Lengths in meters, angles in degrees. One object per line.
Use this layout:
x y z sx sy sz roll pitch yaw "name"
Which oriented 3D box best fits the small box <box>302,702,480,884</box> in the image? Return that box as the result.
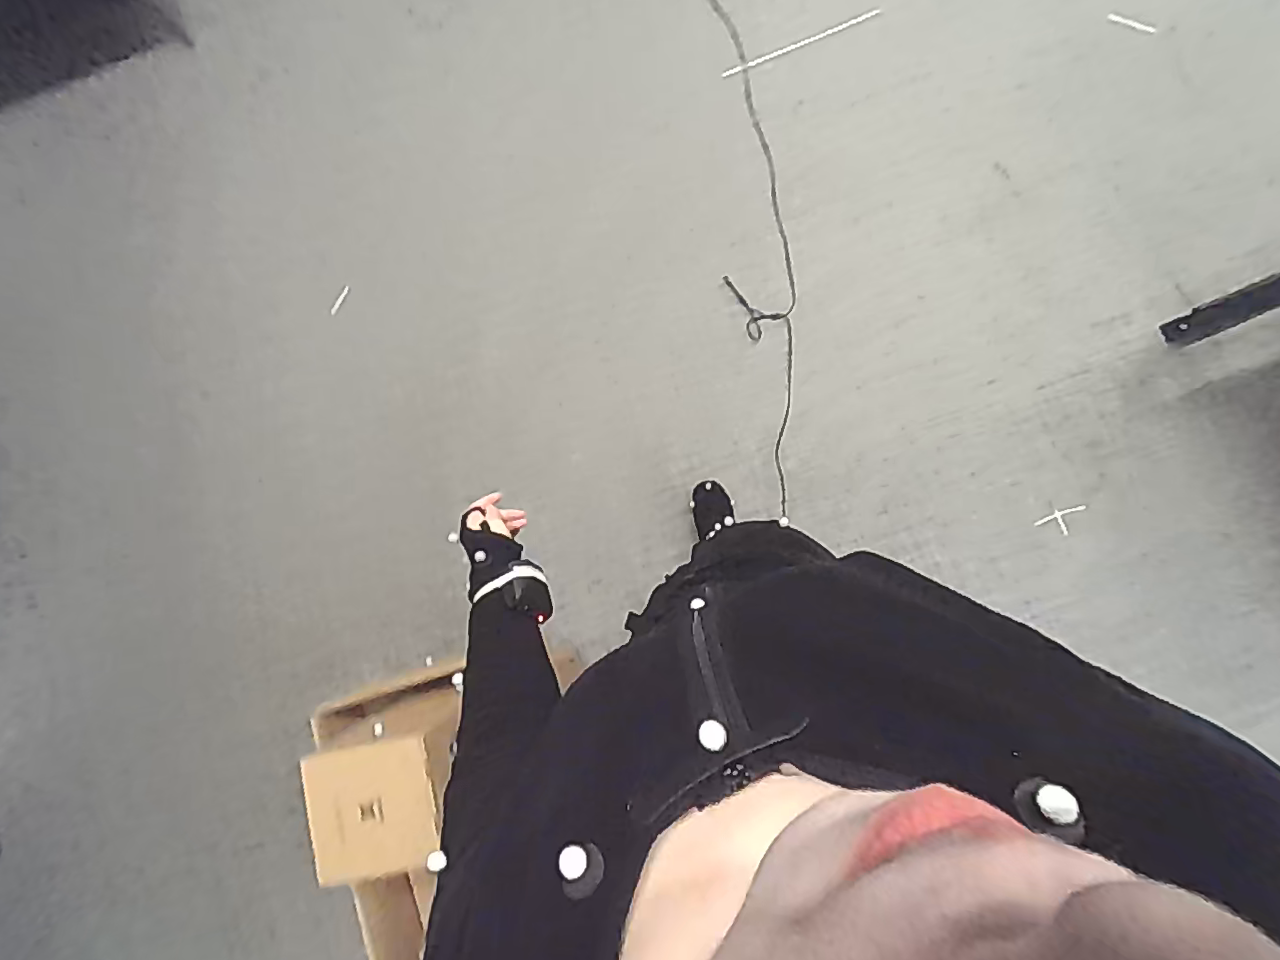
-0.352 0.445 0.797 0.179 0.176 0.168 -13 83 5 "small box"
